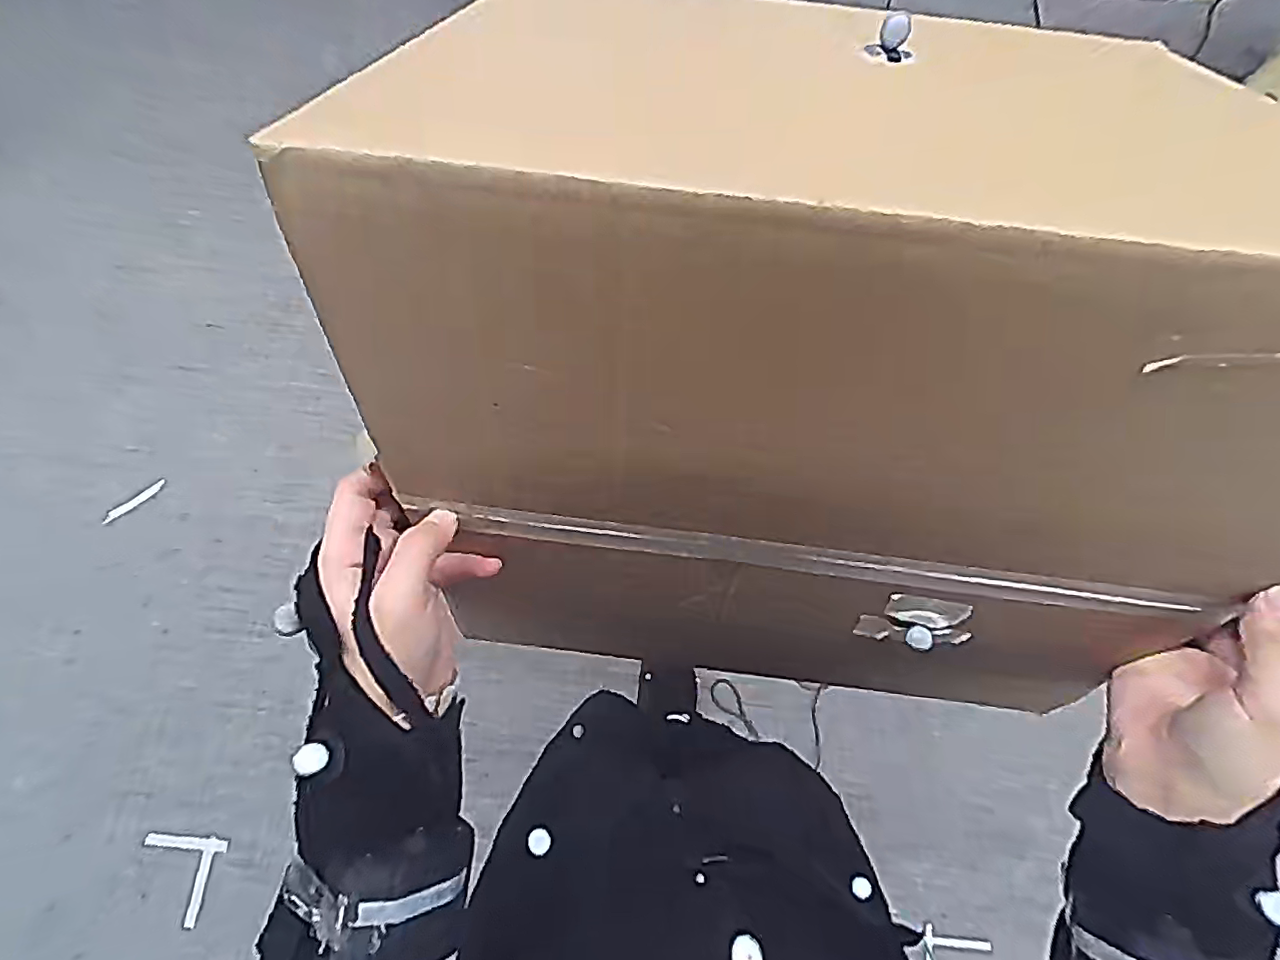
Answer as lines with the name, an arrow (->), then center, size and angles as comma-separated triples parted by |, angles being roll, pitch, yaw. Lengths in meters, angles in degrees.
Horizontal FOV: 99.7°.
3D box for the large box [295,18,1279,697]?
large box -> 0.095, -0.079, 0.366 | 0.408, 0.320, 0.320 | 6, 50, 1
